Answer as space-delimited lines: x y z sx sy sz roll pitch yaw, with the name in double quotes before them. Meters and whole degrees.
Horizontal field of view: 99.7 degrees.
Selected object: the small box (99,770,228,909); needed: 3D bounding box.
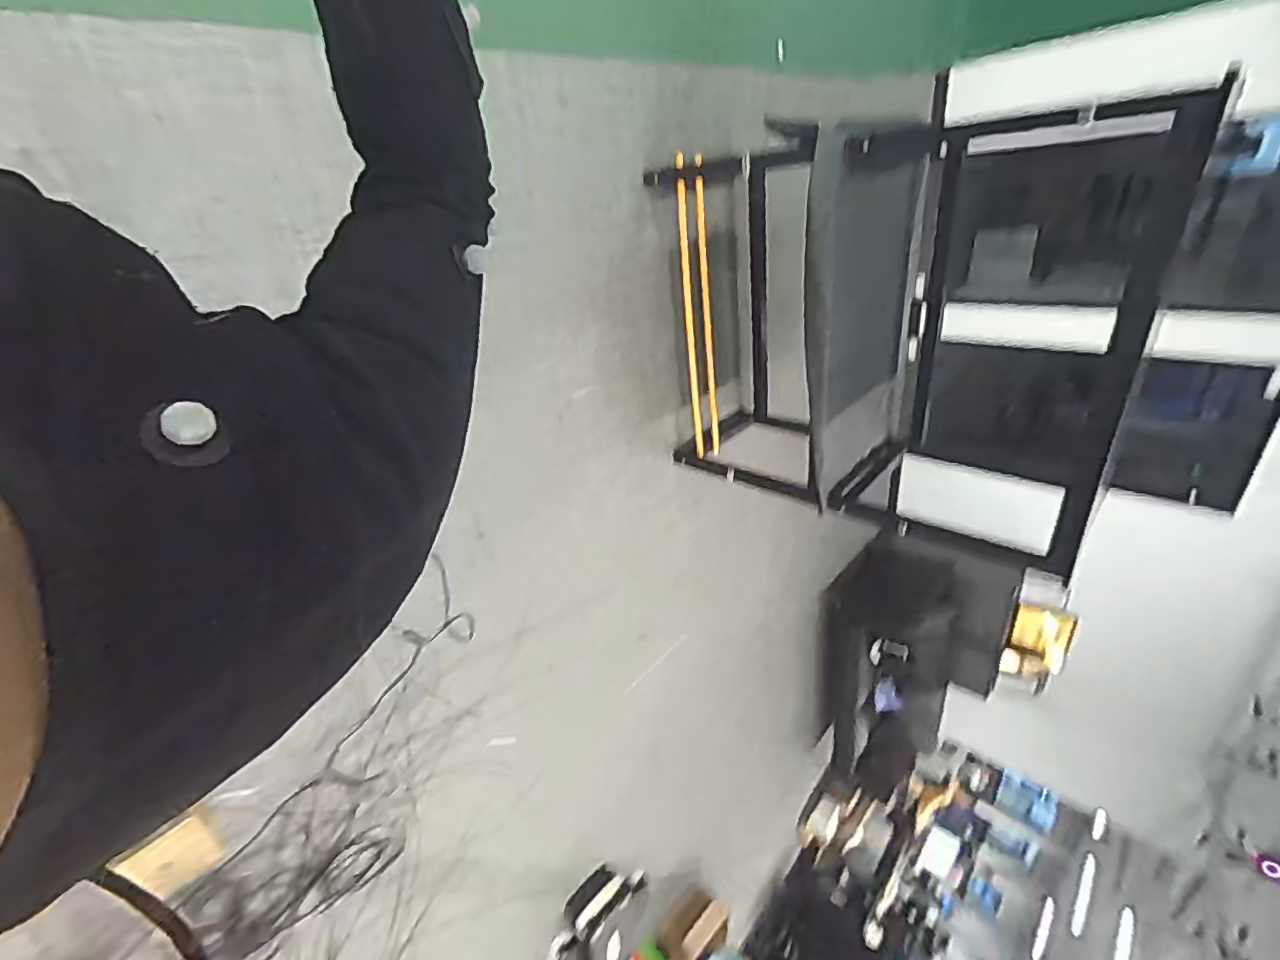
"small box" -1.129 0.842 1.280 0.179 0.176 0.168 -33 128 -36
